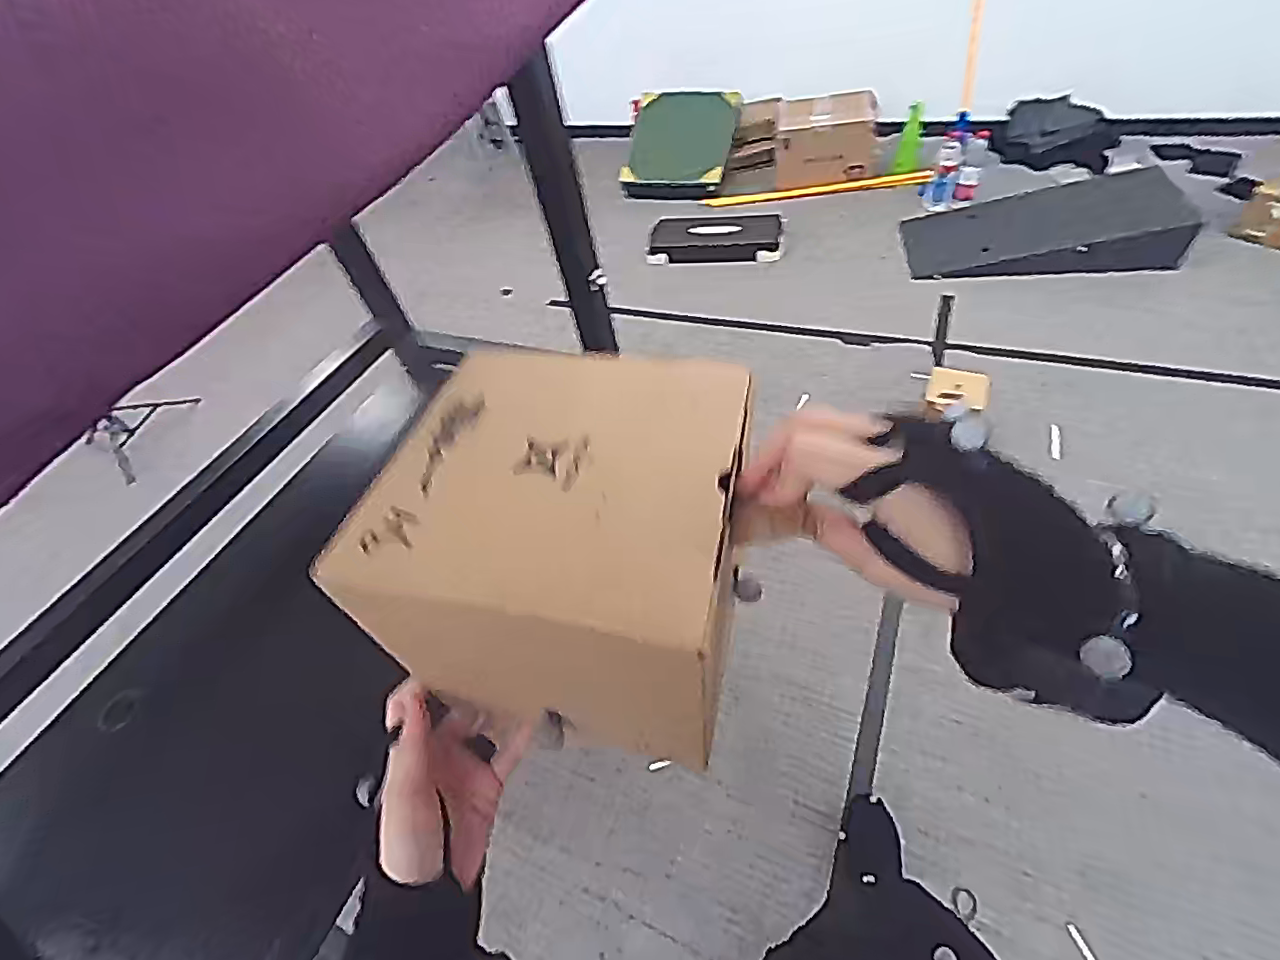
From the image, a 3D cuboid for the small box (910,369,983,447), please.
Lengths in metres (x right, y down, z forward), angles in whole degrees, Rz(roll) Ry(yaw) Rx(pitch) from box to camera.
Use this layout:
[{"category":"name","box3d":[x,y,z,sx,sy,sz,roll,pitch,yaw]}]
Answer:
[{"category":"small box","box3d":[1.011,-0.236,1.793,0.168,0.176,0.179,16,56,21]}]

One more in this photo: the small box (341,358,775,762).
[{"category":"small box","box3d":[-0.022,0.049,0.327,0.179,0.176,0.168,7,49,14]}]
